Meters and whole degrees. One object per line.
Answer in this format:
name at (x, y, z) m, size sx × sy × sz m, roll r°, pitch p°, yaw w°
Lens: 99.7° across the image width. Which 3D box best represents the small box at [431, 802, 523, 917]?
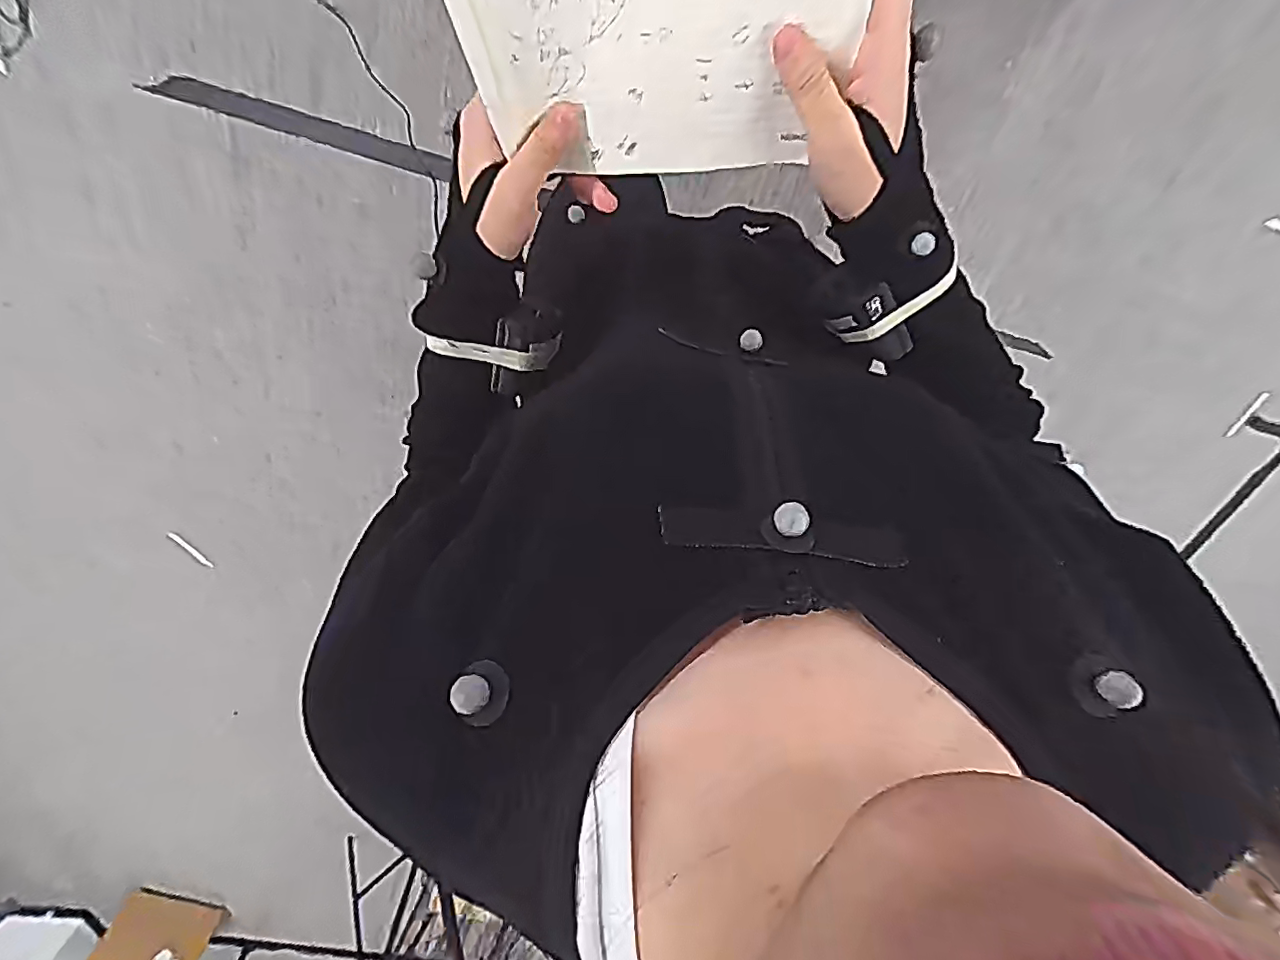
small box at (-0.399, 0.941, 1.345) m, size 0.168 × 0.176 × 0.179 m, roll 18°, pitch 120°, yaw -10°
